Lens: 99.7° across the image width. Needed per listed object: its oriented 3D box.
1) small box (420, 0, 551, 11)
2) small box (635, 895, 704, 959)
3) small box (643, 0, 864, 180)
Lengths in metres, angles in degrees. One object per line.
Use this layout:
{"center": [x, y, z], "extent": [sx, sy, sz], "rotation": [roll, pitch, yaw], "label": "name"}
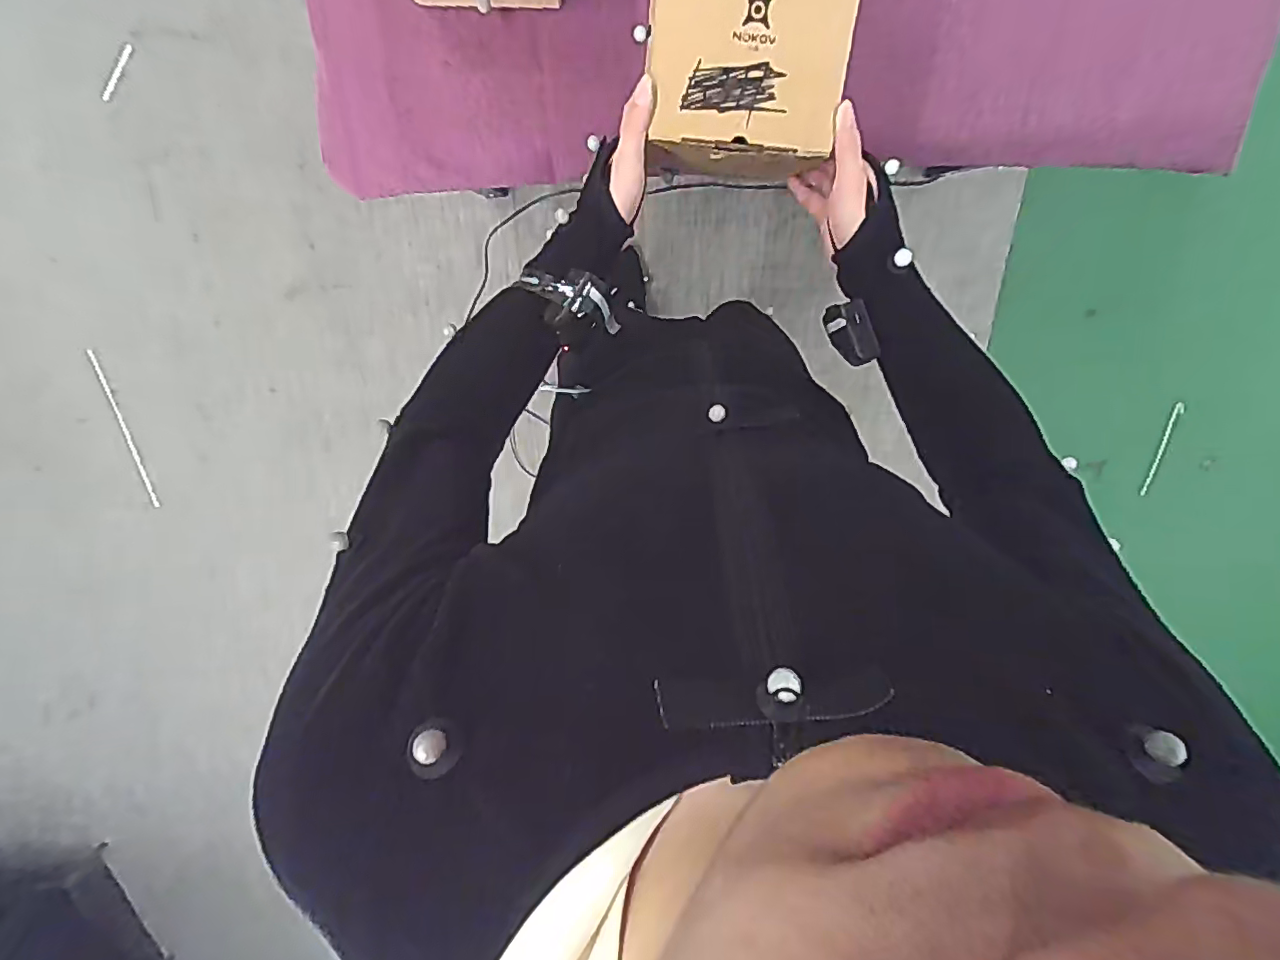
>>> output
{"center": [-0.172, -0.609, 0.544], "extent": [0.179, 0.176, 0.168], "rotation": [-1, 113, -3], "label": "small box"}
{"center": [0.077, 1.304, 1.517], "extent": [0.179, 0.176, 0.168], "rotation": [1, 111, -2], "label": "small box"}
{"center": [0.092, -0.395, 0.508], "extent": [0.168, 0.176, 0.179], "rotation": [3, 110, -4], "label": "small box"}
